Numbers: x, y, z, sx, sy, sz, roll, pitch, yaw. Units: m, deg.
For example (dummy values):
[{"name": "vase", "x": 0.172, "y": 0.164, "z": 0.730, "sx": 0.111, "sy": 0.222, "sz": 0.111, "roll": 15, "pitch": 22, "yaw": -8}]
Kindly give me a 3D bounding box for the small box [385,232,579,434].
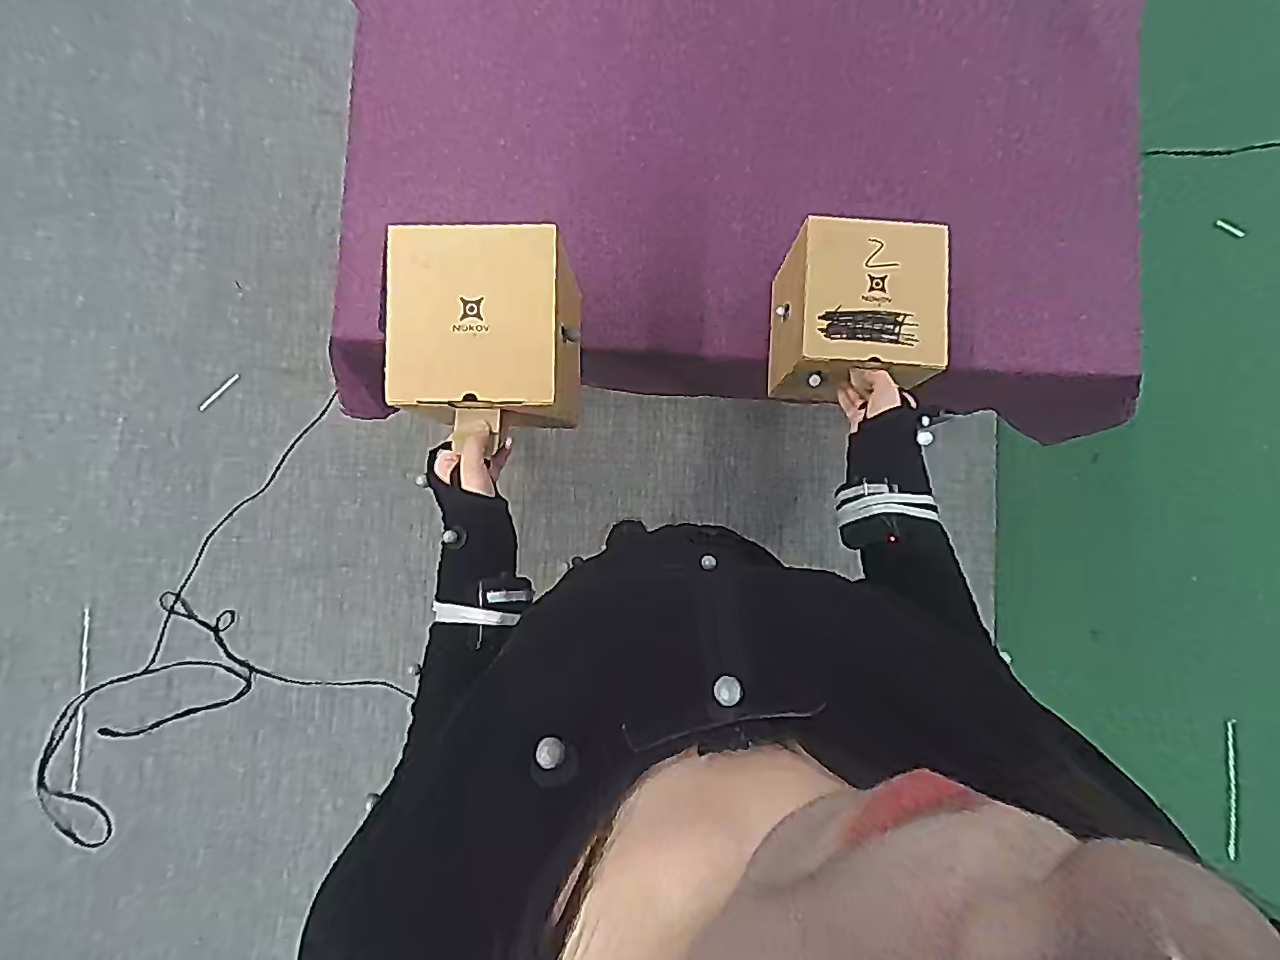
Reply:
[{"name": "small box", "x": -0.160, "y": -0.149, "z": 0.597, "sx": 0.168, "sy": 0.176, "sz": 0.179, "roll": 0, "pitch": 89, "yaw": 1}]
